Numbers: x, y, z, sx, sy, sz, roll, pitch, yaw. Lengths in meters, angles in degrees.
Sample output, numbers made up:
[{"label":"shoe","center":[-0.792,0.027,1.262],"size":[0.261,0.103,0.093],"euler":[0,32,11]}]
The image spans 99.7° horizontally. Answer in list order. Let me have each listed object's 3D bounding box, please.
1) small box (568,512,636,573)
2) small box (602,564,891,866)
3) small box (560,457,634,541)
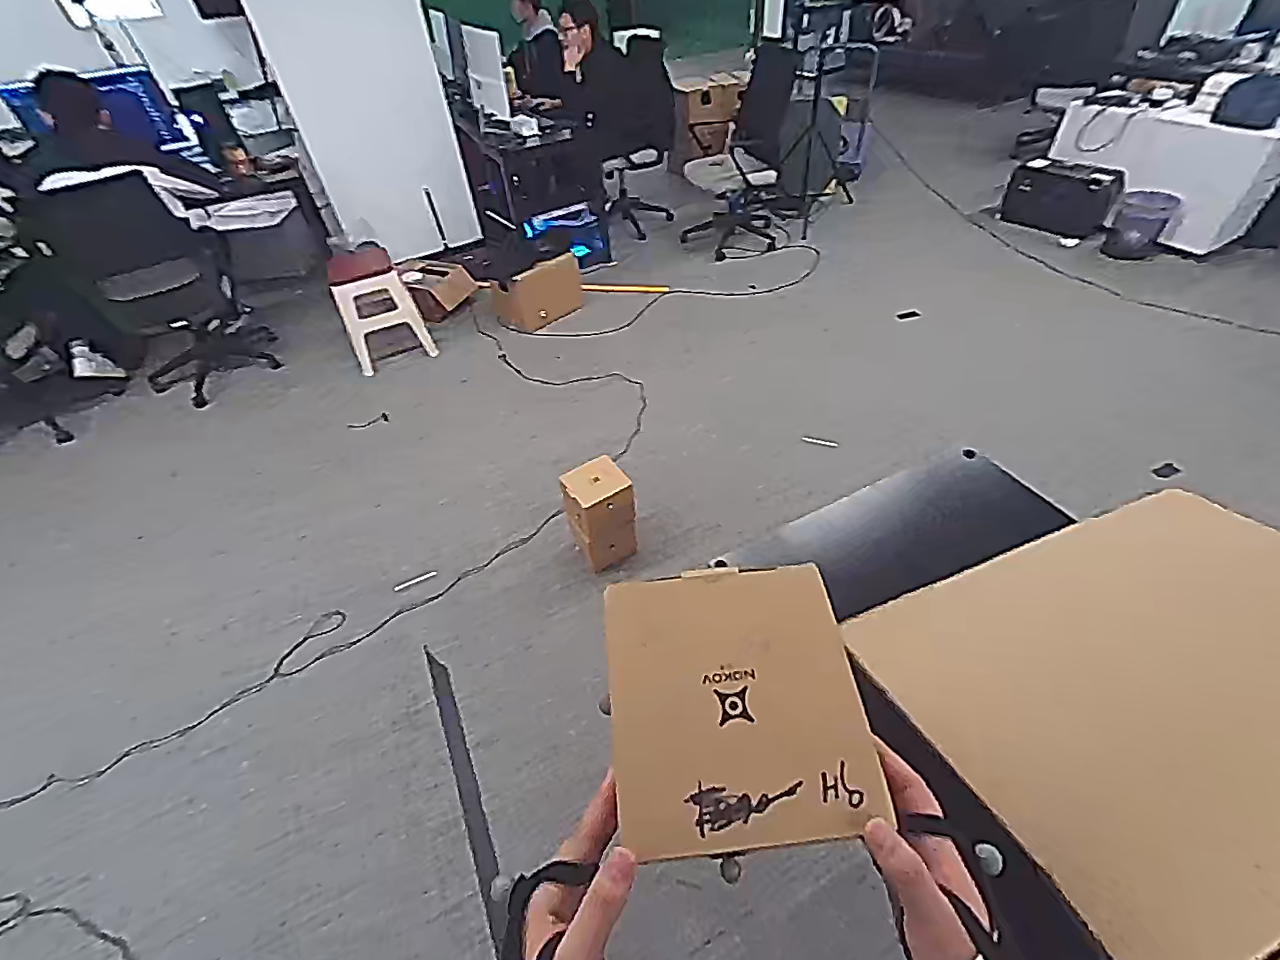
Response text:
[{"label":"small box","center":[-0.124,0.181,1.833],"size":[0.179,0.176,0.168],"euler":[-26,49,-18]},{"label":"small box","center":[0.060,0.188,0.427],"size":[0.168,0.176,0.179],"euler":[-6,54,-2]},{"label":"small box","center":[-0.131,0.064,1.720],"size":[0.179,0.176,0.168],"euler":[-27,50,-21]}]
